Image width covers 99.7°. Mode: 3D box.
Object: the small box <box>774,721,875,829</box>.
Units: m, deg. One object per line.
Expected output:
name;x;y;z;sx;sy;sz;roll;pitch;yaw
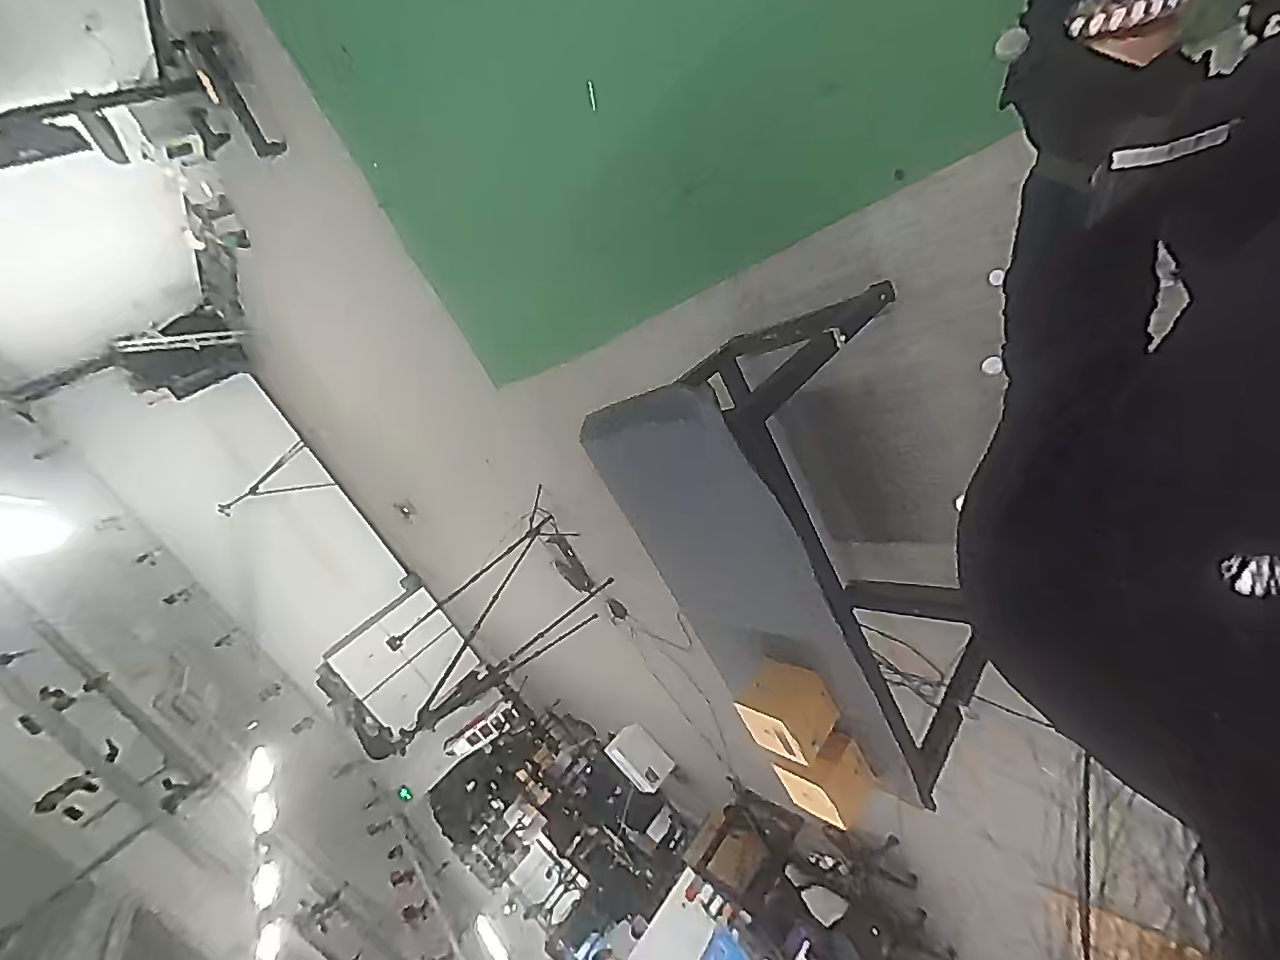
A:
small box;0.511;0.802;1.494;0.179;0.176;0.168;-8;117;55
